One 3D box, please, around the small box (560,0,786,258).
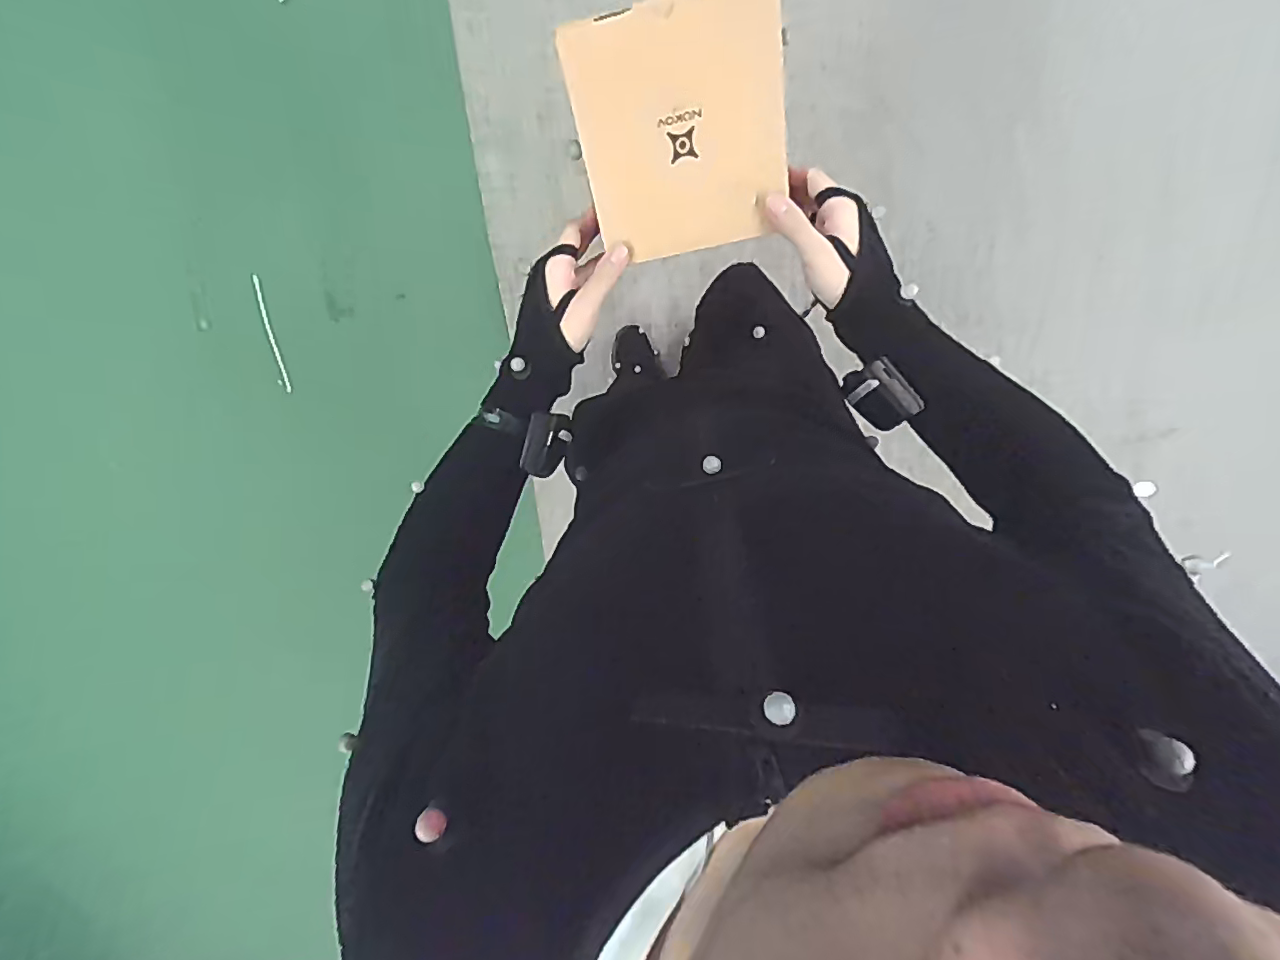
[{"bbox_3d":[0.038,-0.330,0.505,0.168,0.176,0.179,-8,123,8],"label":"small box"}]
